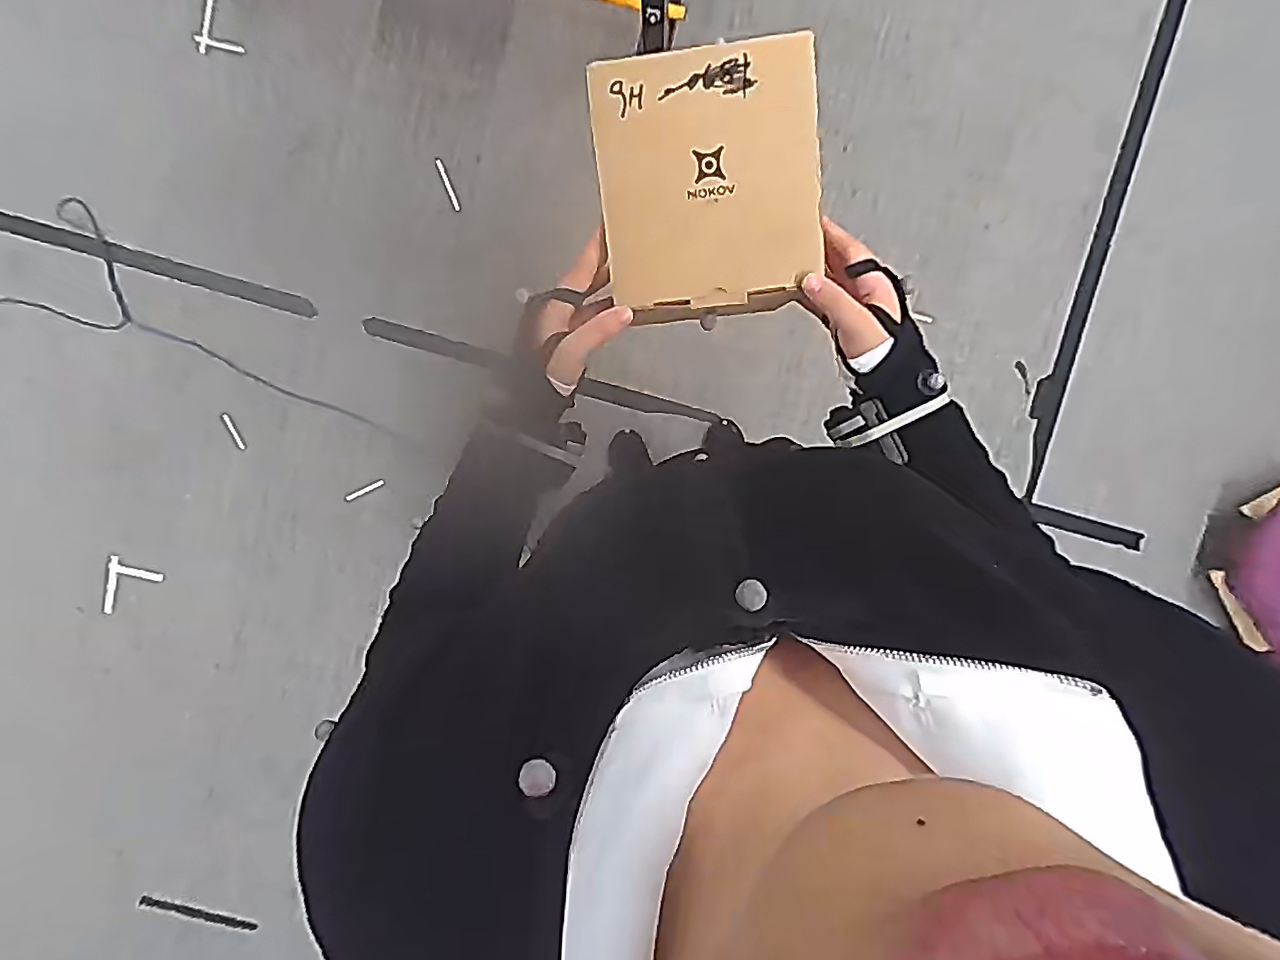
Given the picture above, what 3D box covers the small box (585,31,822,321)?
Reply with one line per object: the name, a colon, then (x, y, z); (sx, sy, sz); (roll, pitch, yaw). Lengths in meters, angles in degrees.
small box: (0.054, -0.239, 0.476); (0.168, 0.176, 0.179); (-6, 103, 3)
